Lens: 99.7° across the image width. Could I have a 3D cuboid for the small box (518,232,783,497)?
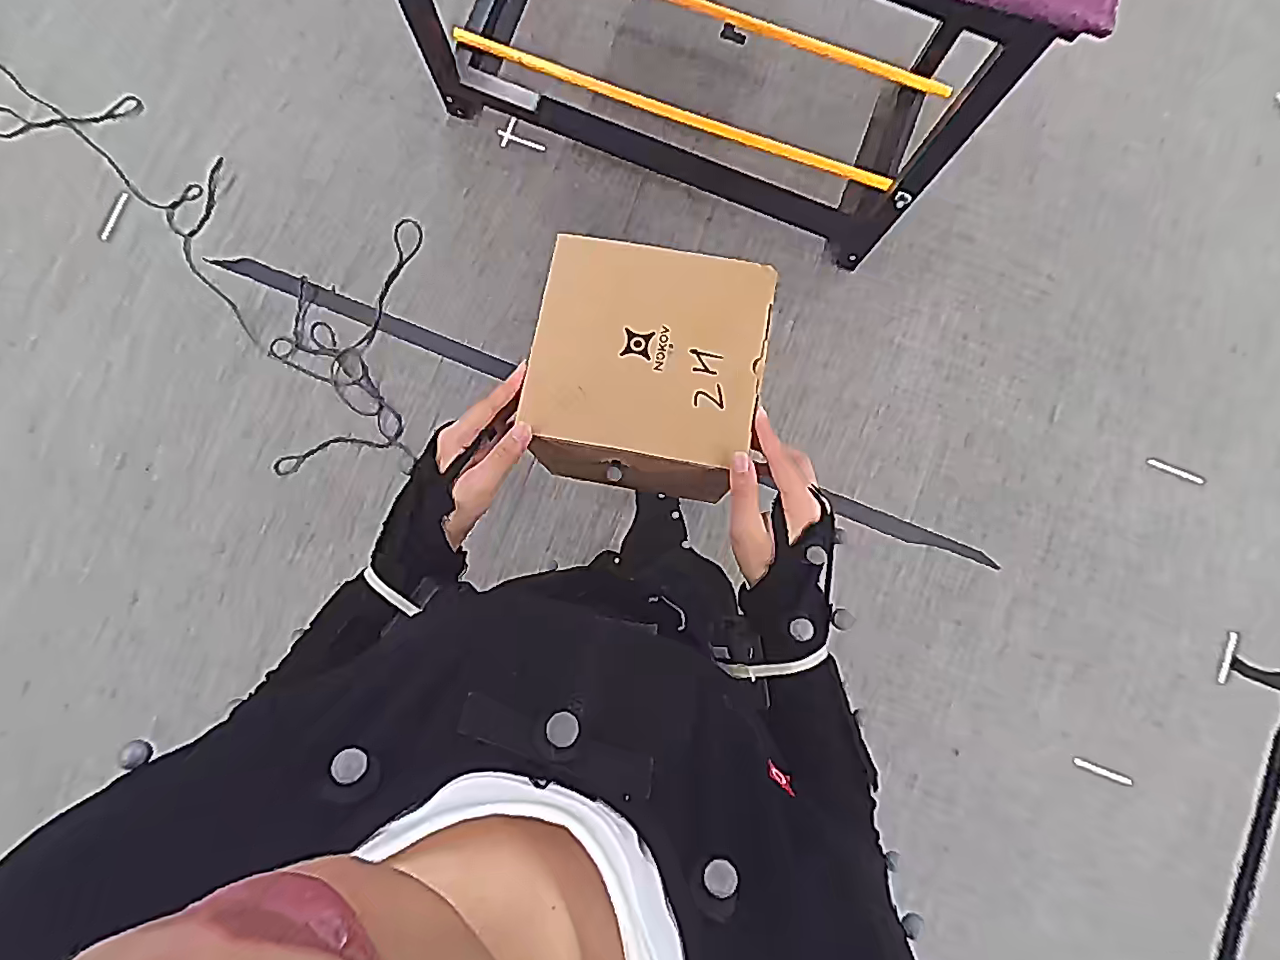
[{"bbox_3d":[0.011,-0.086,0.482,0.179,0.176,0.168,10,81,2],"label":"small box"}]
